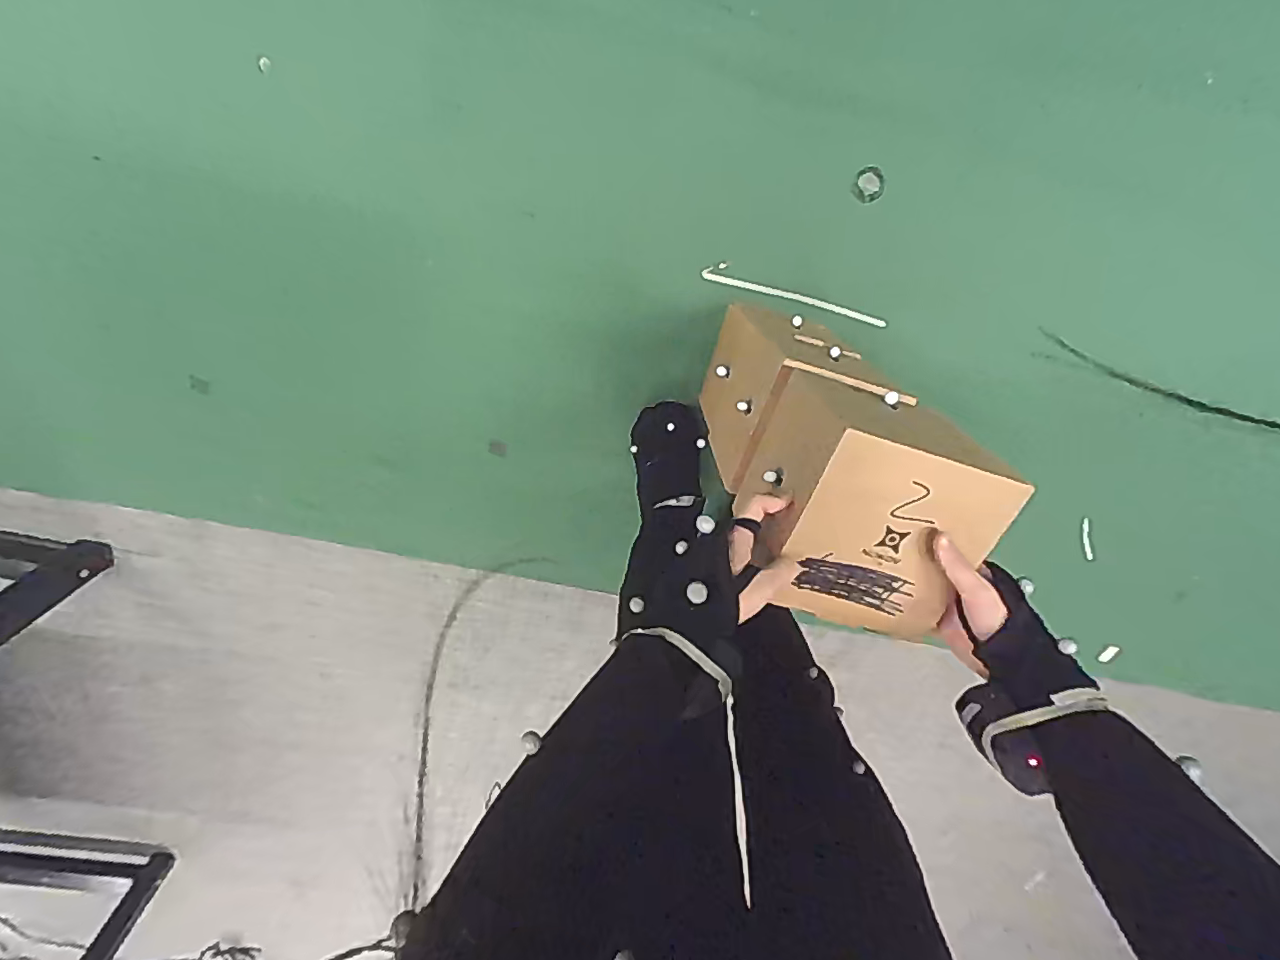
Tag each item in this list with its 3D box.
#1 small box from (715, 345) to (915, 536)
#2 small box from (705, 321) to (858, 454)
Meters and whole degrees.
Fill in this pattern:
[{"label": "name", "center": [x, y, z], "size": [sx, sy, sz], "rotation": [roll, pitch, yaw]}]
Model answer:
[{"label": "small box", "center": [0.207, -0.059, 0.703], "size": [0.168, 0.176, 0.179], "rotation": [15, 116, -8]}, {"label": "small box", "center": [0.206, -0.133, 0.851], "size": [0.168, 0.176, 0.179], "rotation": [13, 115, -8]}]
